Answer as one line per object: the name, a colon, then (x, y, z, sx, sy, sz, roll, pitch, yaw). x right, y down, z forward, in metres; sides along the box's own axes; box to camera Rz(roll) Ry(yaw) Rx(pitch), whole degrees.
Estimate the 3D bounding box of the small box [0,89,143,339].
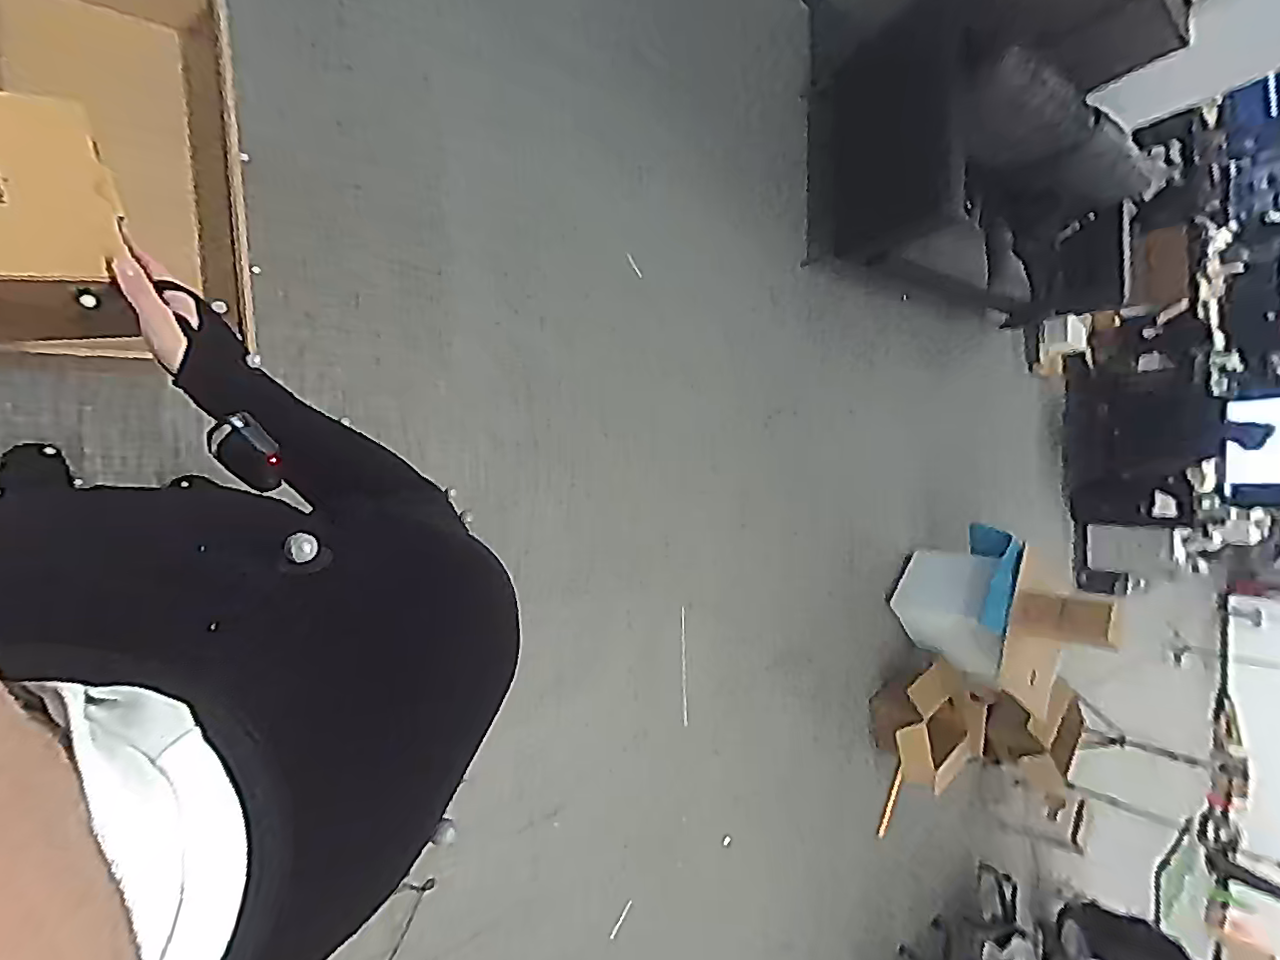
small box: (-0.605, -0.237, 0.505, 0.179, 0.176, 0.168, -19, 95, -41)
